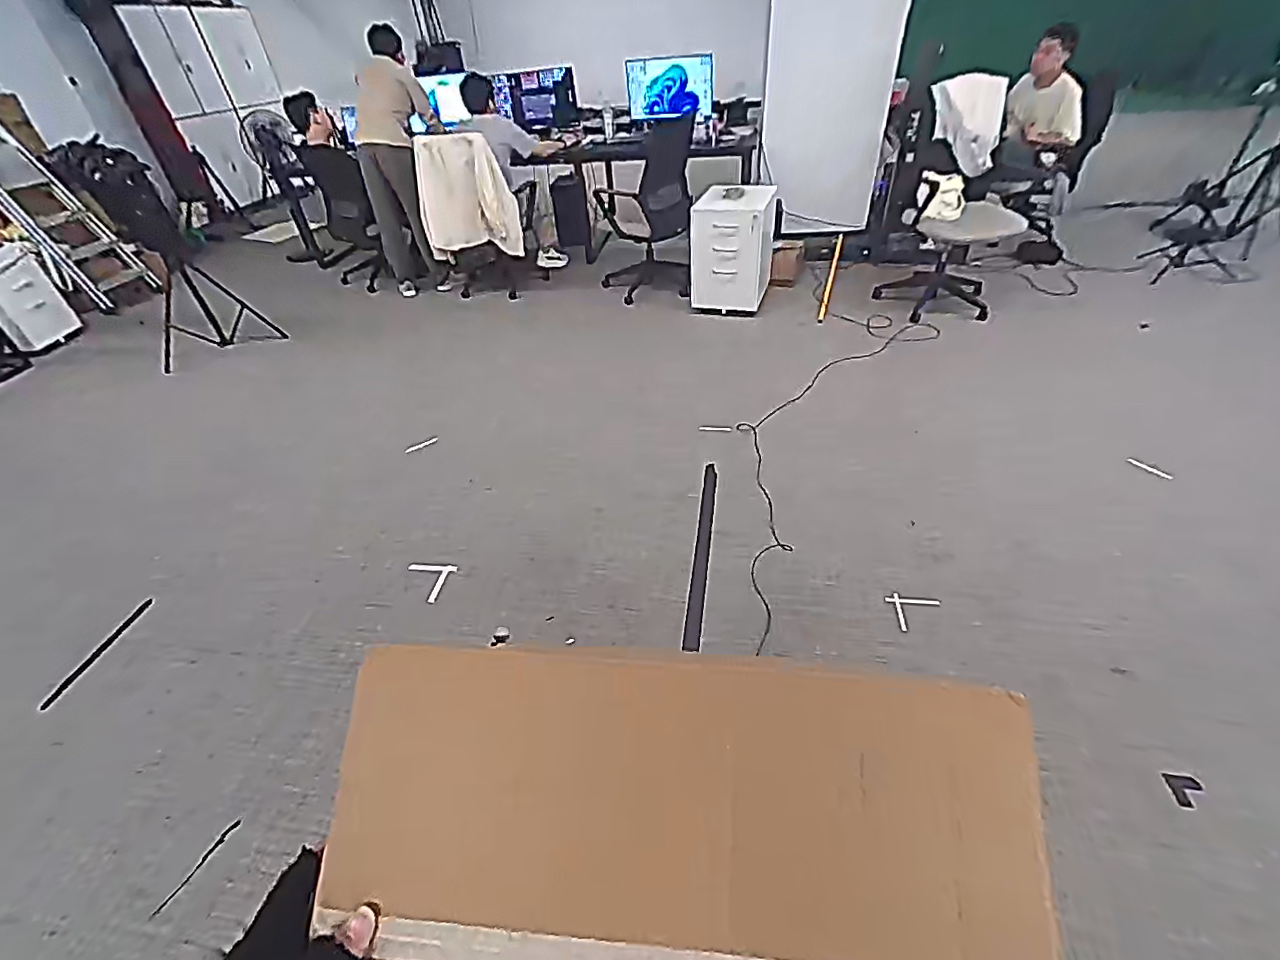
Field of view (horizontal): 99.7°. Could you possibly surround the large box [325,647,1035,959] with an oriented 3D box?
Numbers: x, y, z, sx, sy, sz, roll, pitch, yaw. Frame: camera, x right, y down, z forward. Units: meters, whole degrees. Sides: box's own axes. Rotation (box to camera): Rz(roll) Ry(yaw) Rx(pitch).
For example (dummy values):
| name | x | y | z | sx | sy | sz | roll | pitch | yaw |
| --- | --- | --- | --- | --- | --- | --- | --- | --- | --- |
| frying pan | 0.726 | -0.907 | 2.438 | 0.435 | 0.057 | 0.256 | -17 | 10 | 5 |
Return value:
| name | x | y | z | sx | sy | sz | roll | pitch | yaw |
| --- | --- | --- | --- | --- | --- | --- | --- | --- | --- |
| large box | 0.025 | 0.308 | 0.448 | 0.408 | 0.320 | 0.320 | 2 | 75 | 7 |
